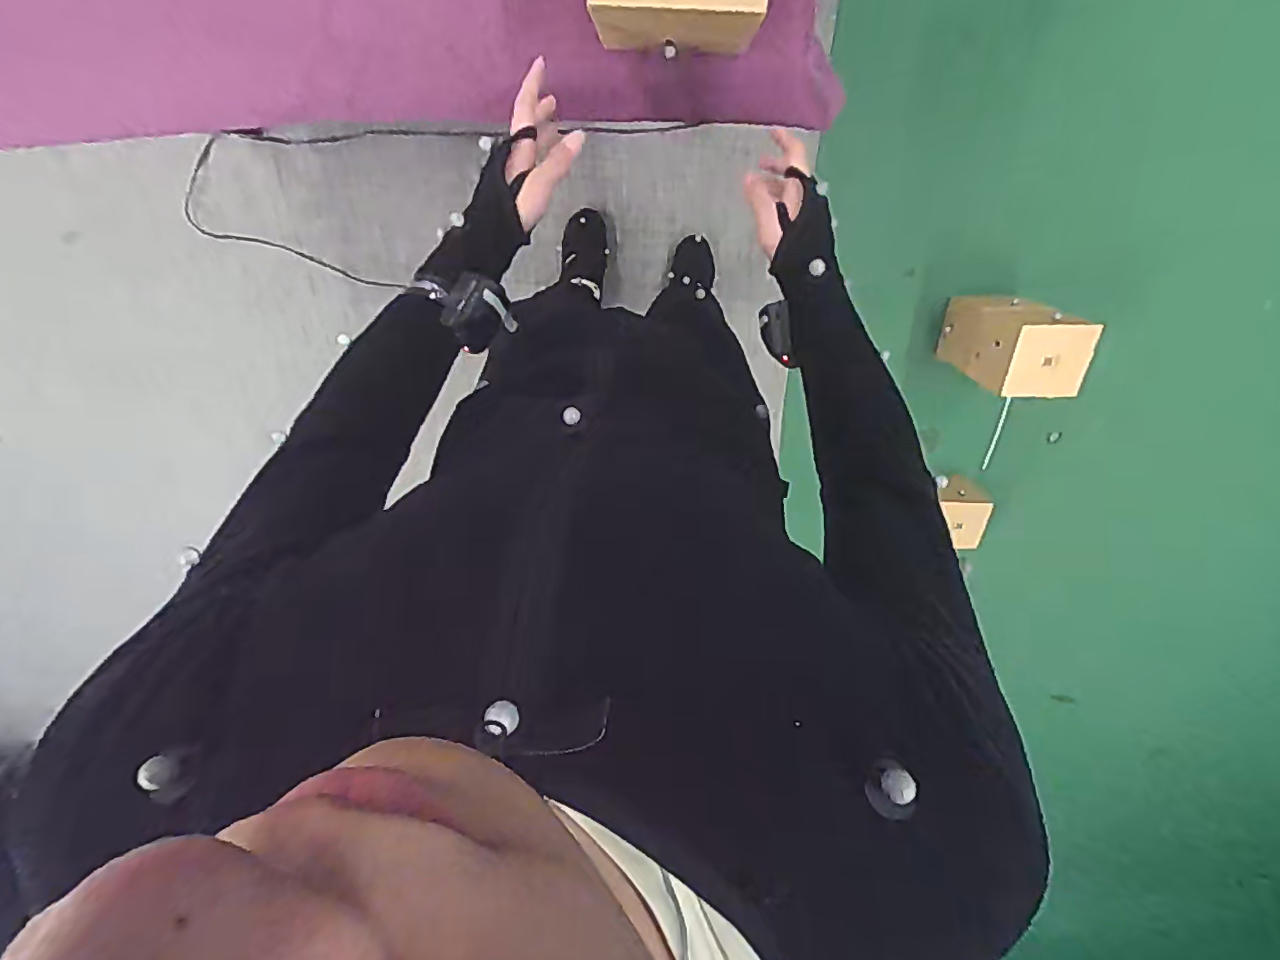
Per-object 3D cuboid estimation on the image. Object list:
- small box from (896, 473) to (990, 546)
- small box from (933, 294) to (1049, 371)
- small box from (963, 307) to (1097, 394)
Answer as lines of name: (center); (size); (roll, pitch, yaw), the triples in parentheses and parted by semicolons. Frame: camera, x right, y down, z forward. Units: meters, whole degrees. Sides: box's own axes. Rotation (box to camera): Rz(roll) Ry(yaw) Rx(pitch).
small box: (0.937, 0.088, 1.688); (0.179, 0.176, 0.168); (2, 119, 0)
small box: (0.910, -0.390, 1.420); (0.179, 0.176, 0.168); (0, 119, 2)
small box: (0.908, -0.309, 1.281); (0.179, 0.176, 0.168); (-1, 119, 1)
